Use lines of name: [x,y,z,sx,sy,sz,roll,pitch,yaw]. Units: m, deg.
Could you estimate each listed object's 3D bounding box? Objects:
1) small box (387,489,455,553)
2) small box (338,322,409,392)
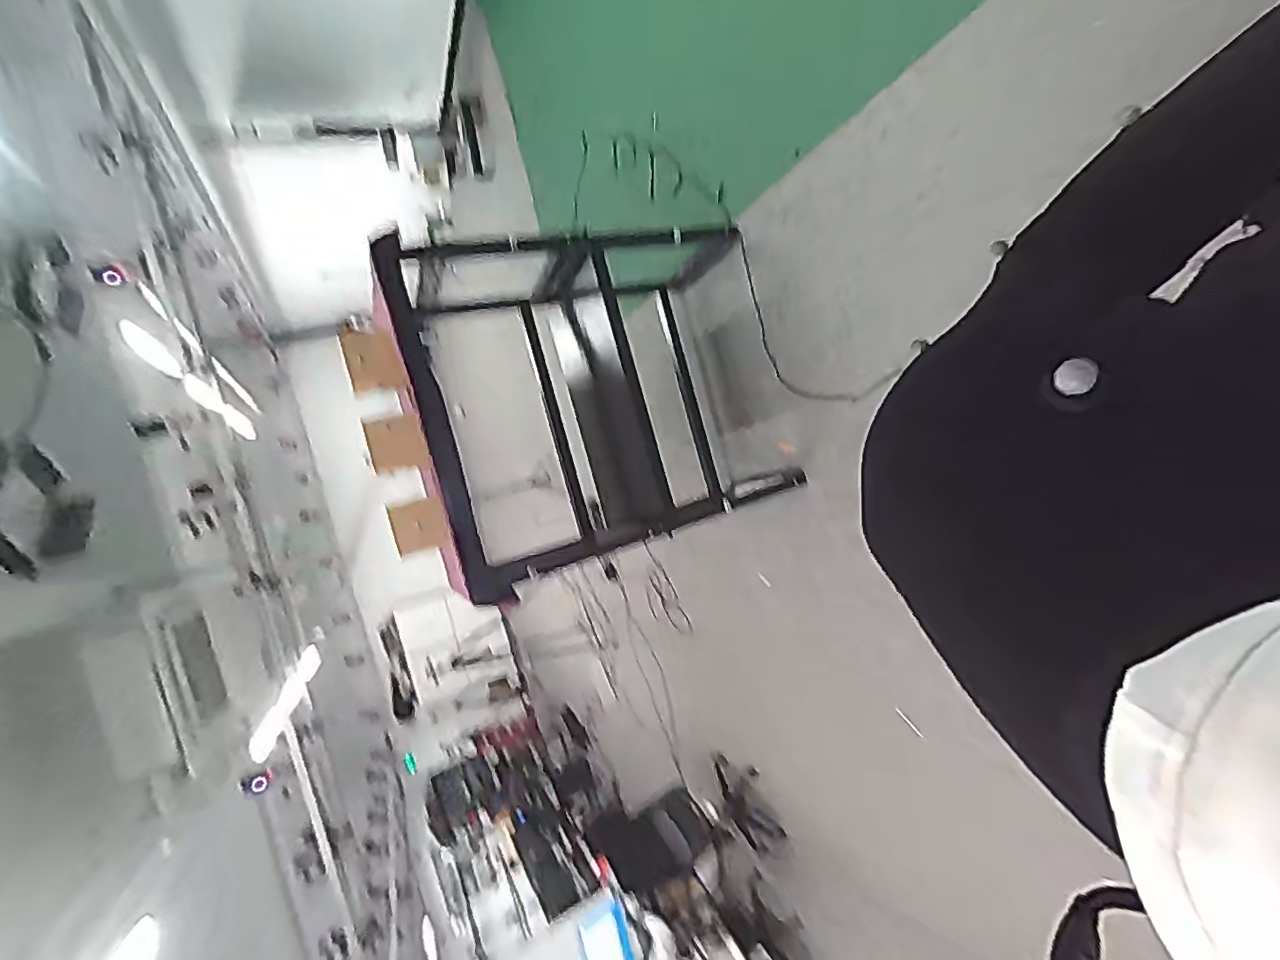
small box: [-0.723,0.130,1.781,0.168,0.176,0.179,-10,96,65]
small box: [-0.869,-0.403,1.770,0.168,0.176,0.179,-9,96,62]
